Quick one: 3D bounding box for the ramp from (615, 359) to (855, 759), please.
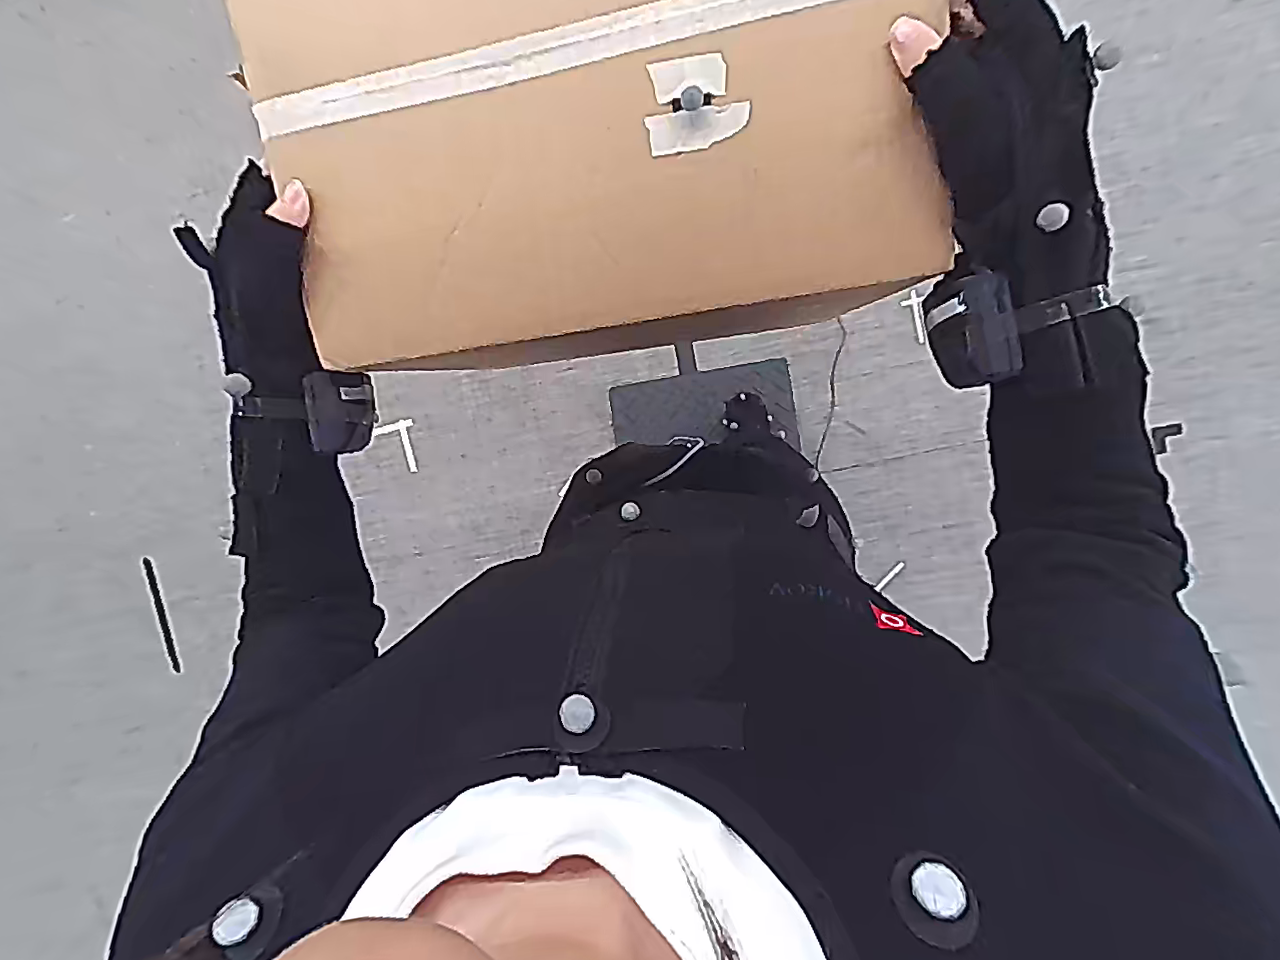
[{"bbox_3d":[0.226,0.198,1.426,0.509,0.206,0.991,-10,92,10],"label":"ramp"}]

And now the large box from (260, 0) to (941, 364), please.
[{"bbox_3d":[-0.020,-0.289,0.472,0.408,0.320,0.320,-7,101,8],"label":"large box"}]
